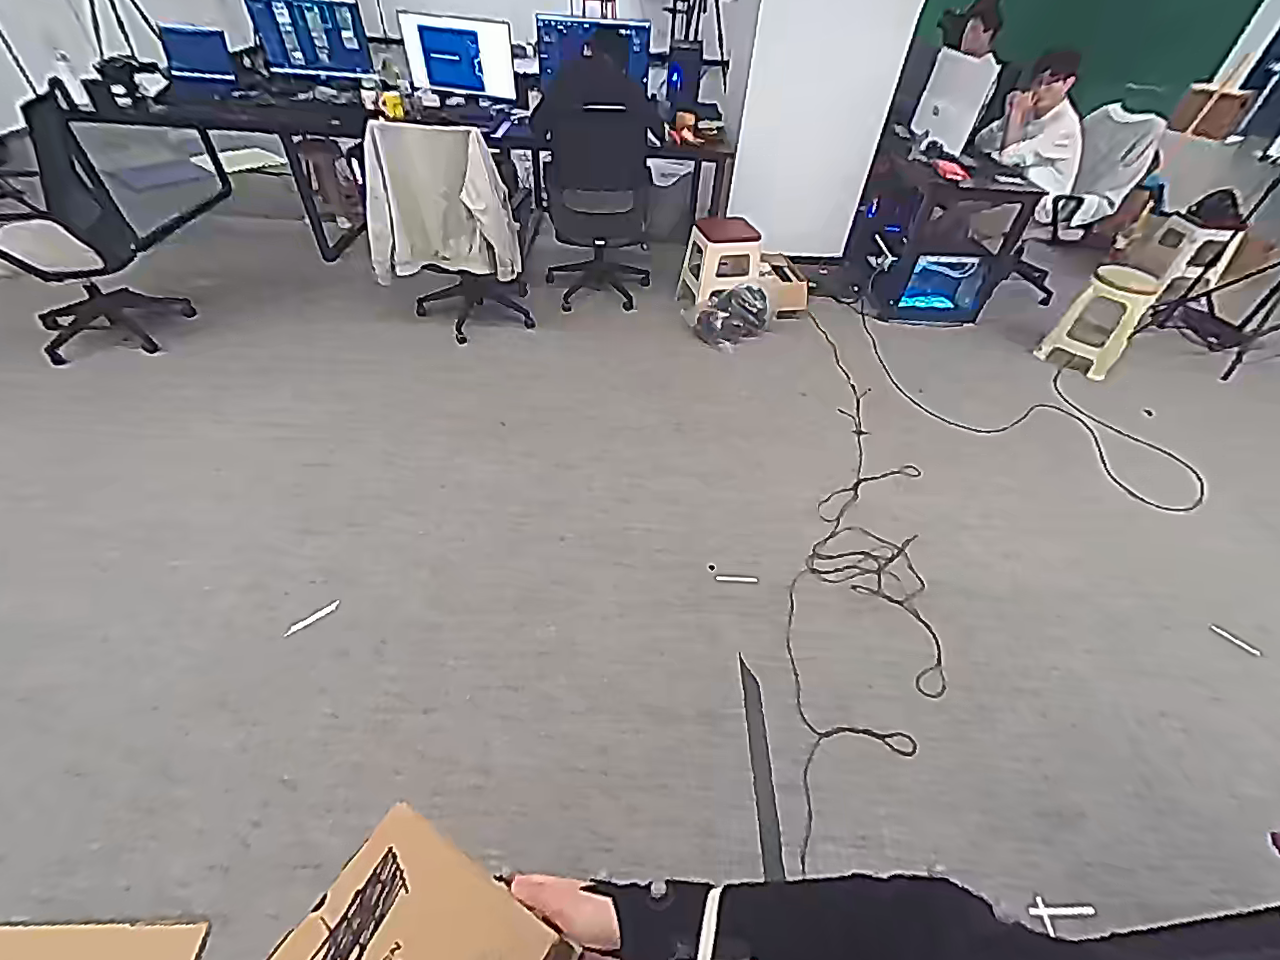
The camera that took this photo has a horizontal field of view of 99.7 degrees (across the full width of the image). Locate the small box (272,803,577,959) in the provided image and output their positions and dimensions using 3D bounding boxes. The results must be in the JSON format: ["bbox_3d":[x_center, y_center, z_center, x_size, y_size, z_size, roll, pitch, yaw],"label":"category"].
[{"bbox_3d":[-0.172,0.414,0.442,0.179,0.176,0.168,23,51,24],"label":"small box"}]
